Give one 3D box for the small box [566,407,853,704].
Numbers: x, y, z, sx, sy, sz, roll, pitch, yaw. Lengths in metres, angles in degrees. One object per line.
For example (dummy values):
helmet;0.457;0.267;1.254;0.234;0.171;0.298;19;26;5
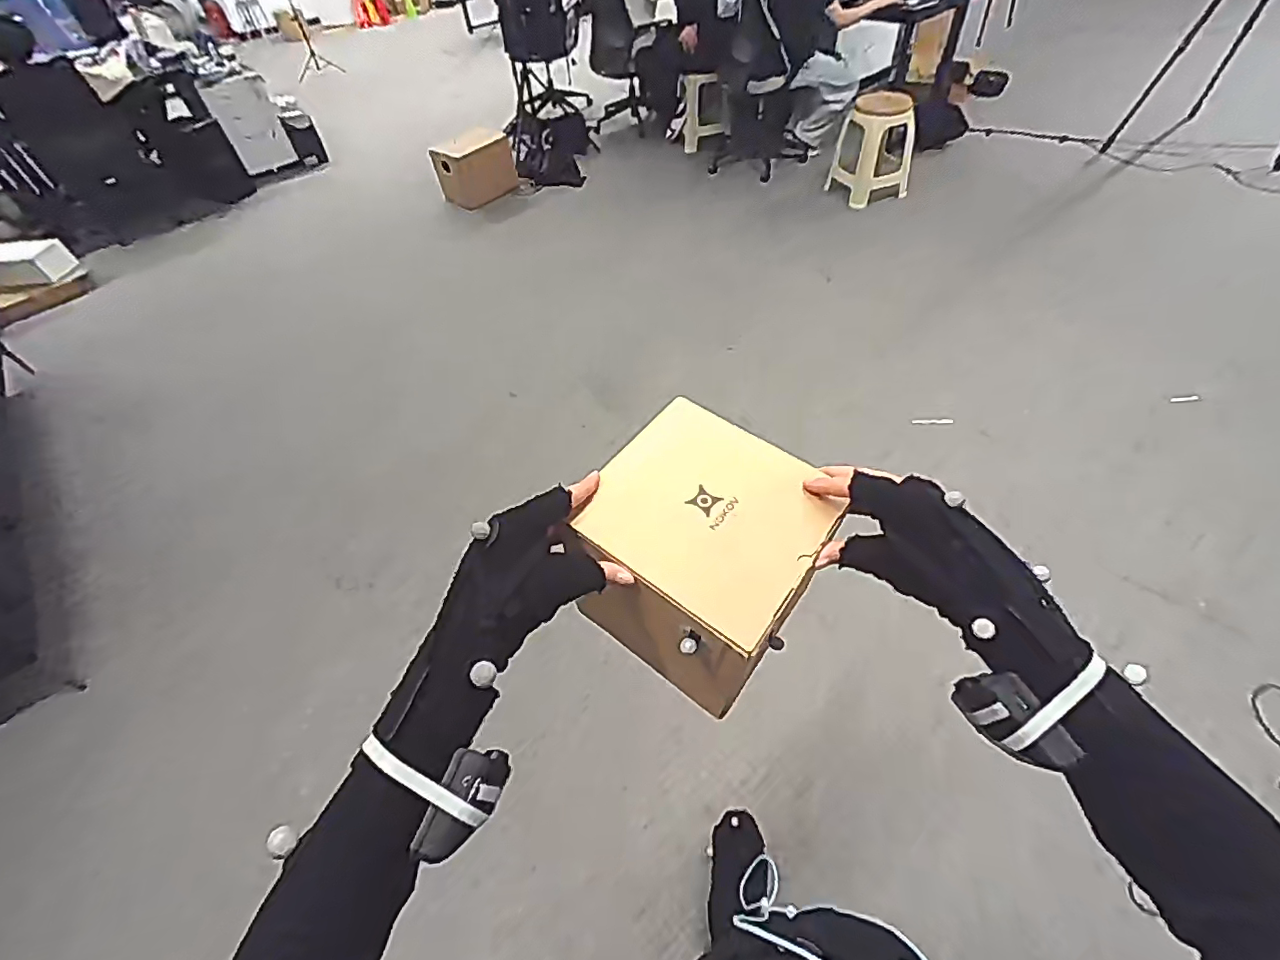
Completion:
small box;0.054;0.072;0.494;0.179;0.176;0.168;33;59;21
